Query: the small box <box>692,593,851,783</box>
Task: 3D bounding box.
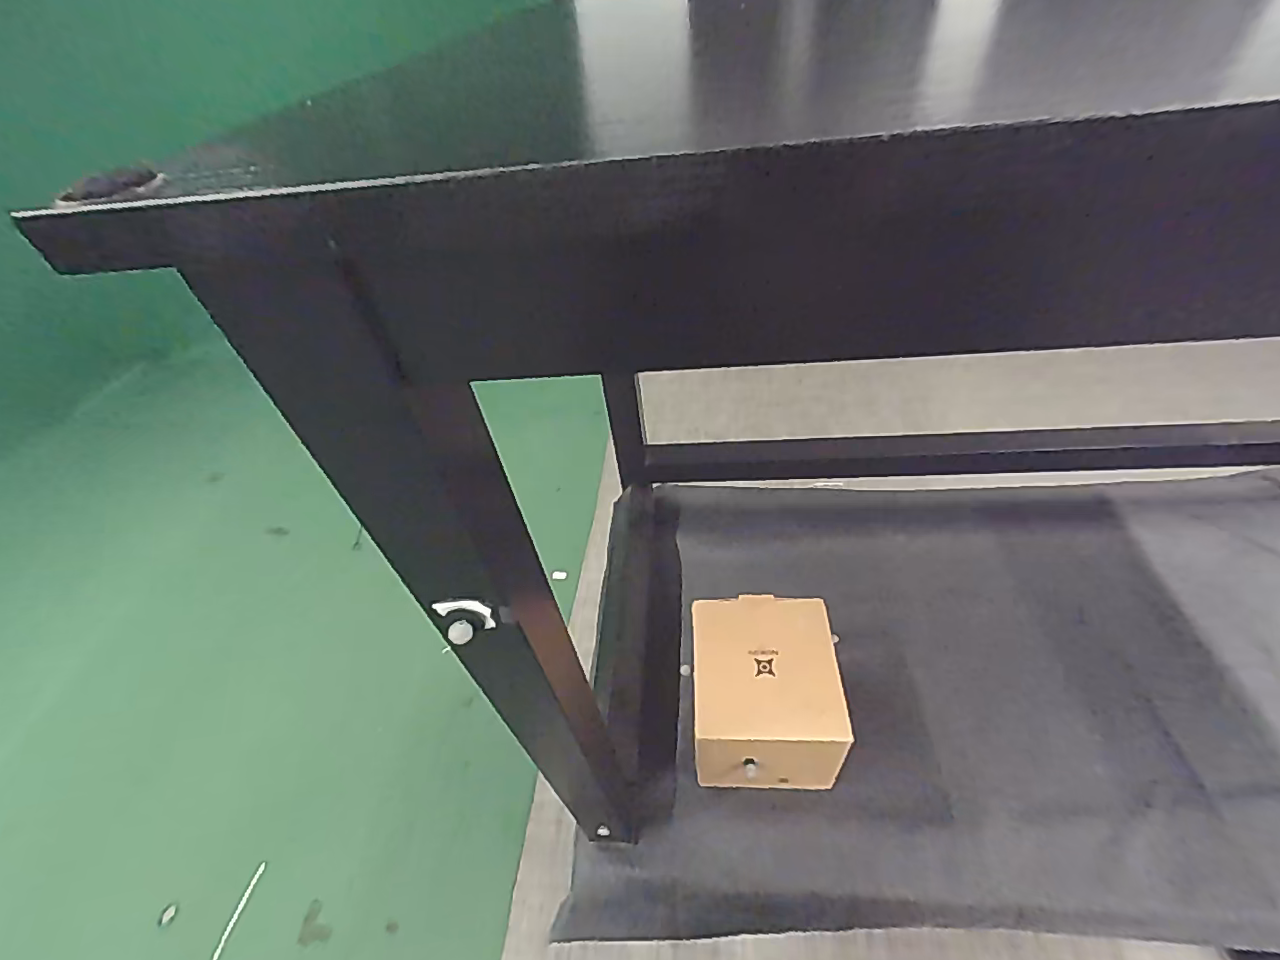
[{"bbox_3d":[0.154,0.264,0.681,0.168,0.176,0.179,-3,44,6],"label":"small box"}]
